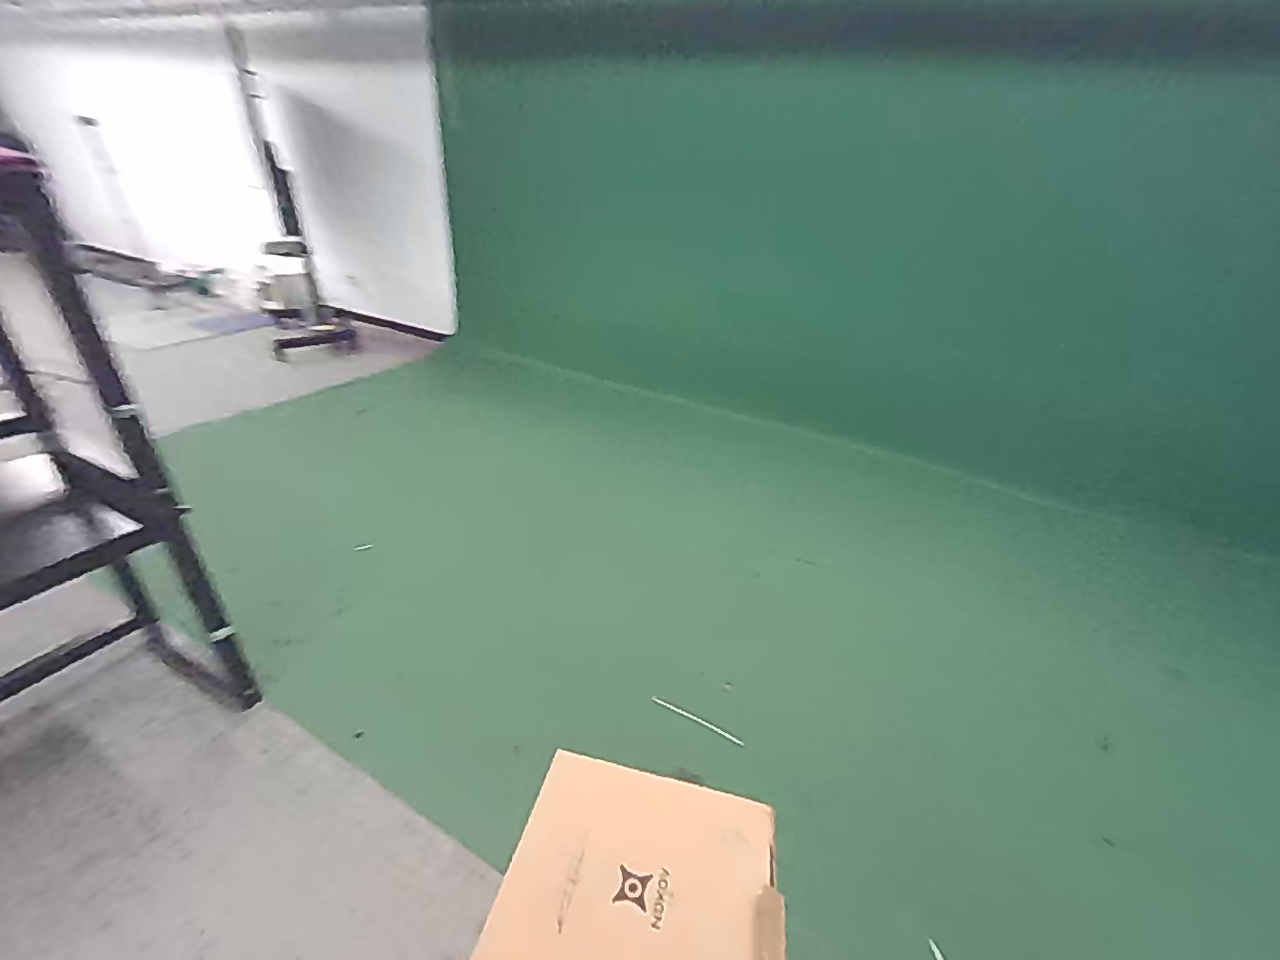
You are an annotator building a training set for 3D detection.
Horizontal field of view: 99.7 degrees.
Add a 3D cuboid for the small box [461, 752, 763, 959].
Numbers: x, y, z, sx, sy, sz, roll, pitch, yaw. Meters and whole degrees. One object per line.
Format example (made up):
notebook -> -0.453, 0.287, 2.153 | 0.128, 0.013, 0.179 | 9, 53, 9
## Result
small box -> -0.013, 0.339, 0.390 | 0.179, 0.176, 0.168 | 8, 26, 9
